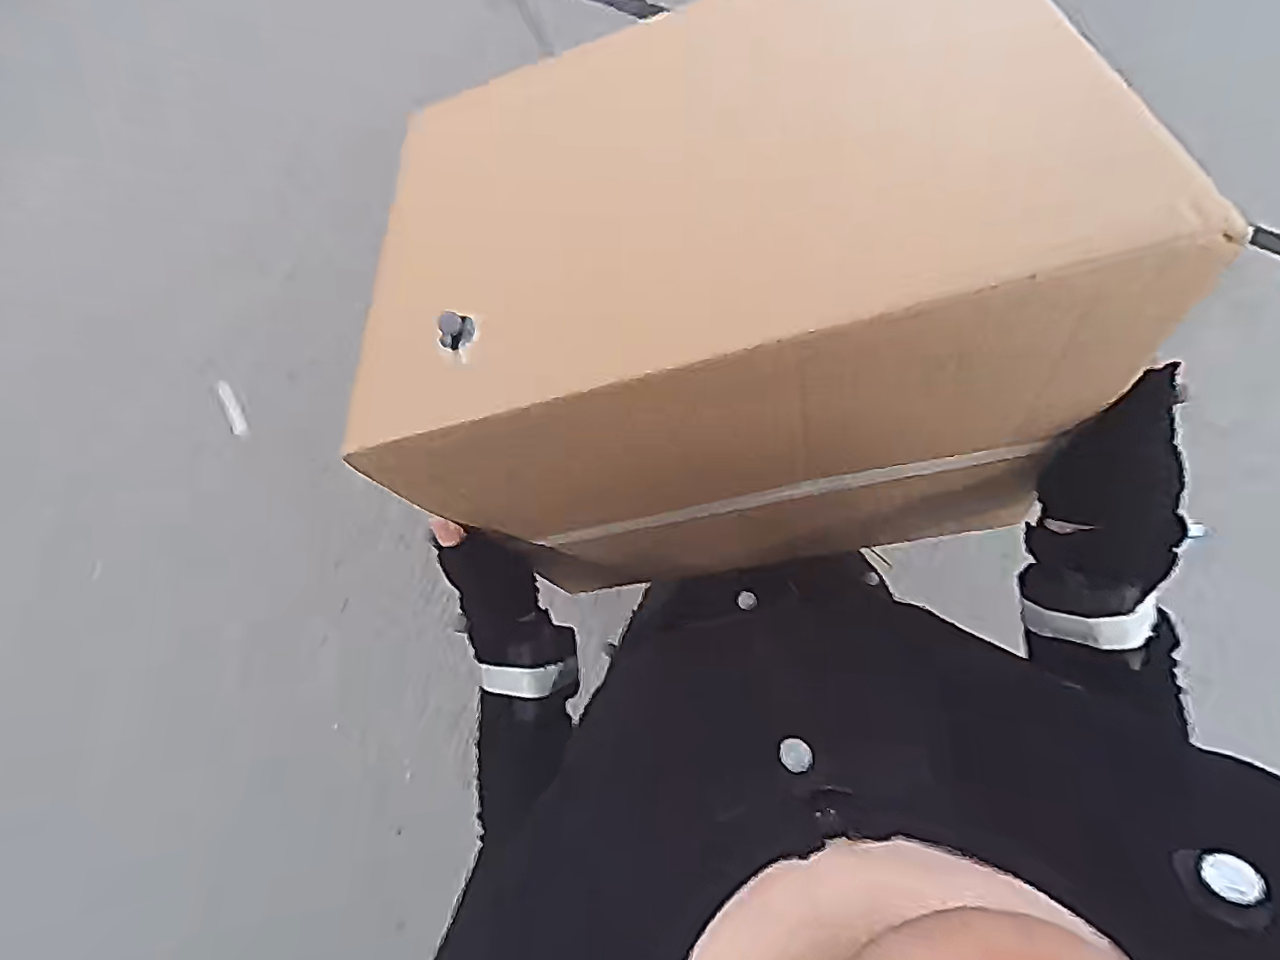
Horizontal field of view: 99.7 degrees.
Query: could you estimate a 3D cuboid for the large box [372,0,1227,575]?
[{"bbox_3d":[0.070,-0.135,0.449,0.408,0.320,0.320,-10,63,13],"label":"large box"}]
